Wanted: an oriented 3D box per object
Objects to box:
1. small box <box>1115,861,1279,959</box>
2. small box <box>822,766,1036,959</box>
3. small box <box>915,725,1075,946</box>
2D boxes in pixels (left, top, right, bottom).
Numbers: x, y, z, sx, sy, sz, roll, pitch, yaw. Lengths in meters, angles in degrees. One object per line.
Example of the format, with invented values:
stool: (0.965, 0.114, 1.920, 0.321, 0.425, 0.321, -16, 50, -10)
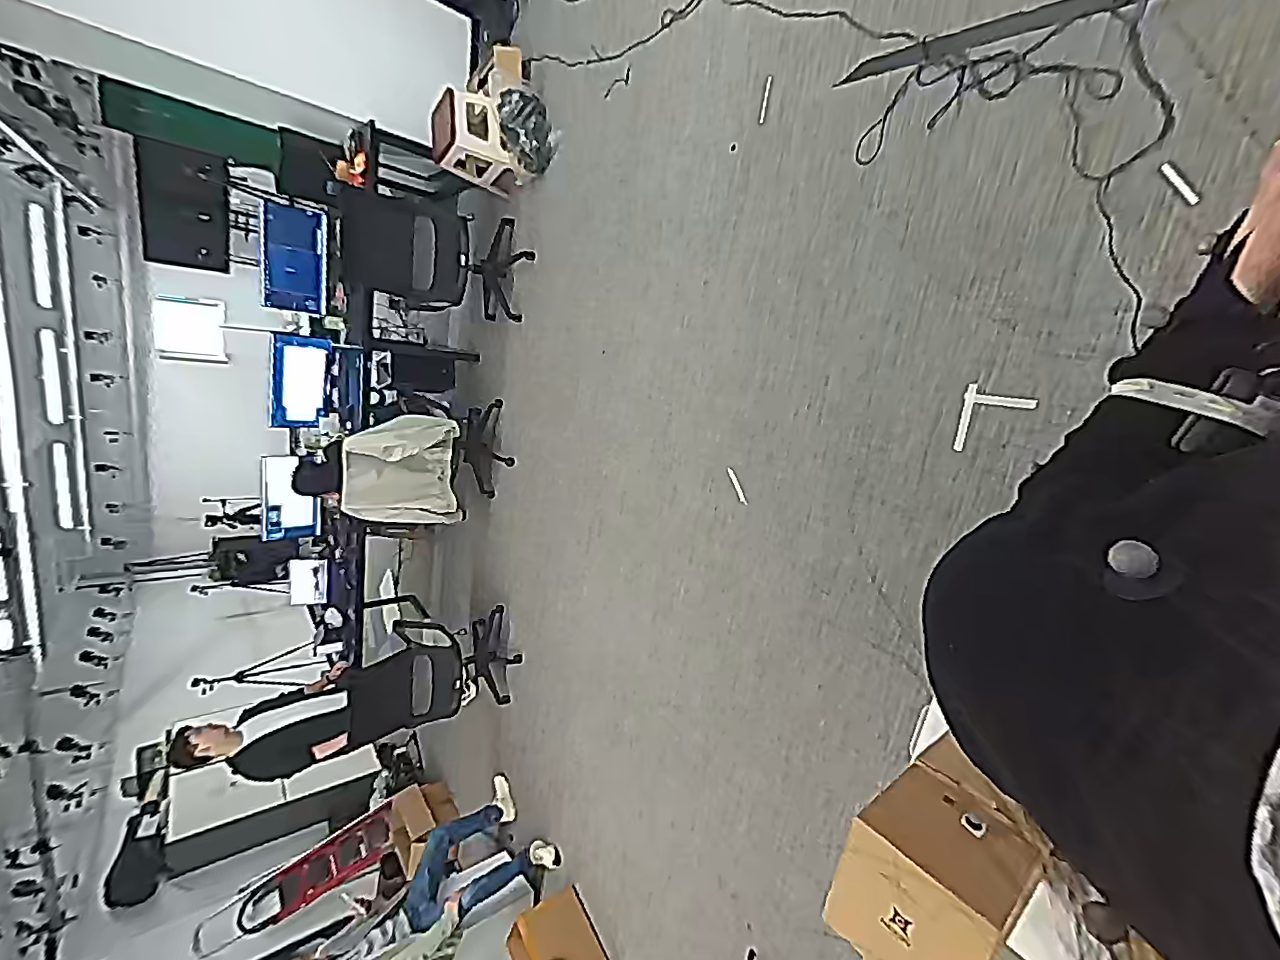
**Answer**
small box: (0.643, 0.587, 0.600, 0.168, 0.176, 0.179, 22, 109, 48)
small box: (0.363, 0.509, 0.681, 0.168, 0.176, 0.179, 24, 111, 46)
small box: (0.491, 0.491, 0.781, 0.168, 0.176, 0.179, 27, 111, 47)
